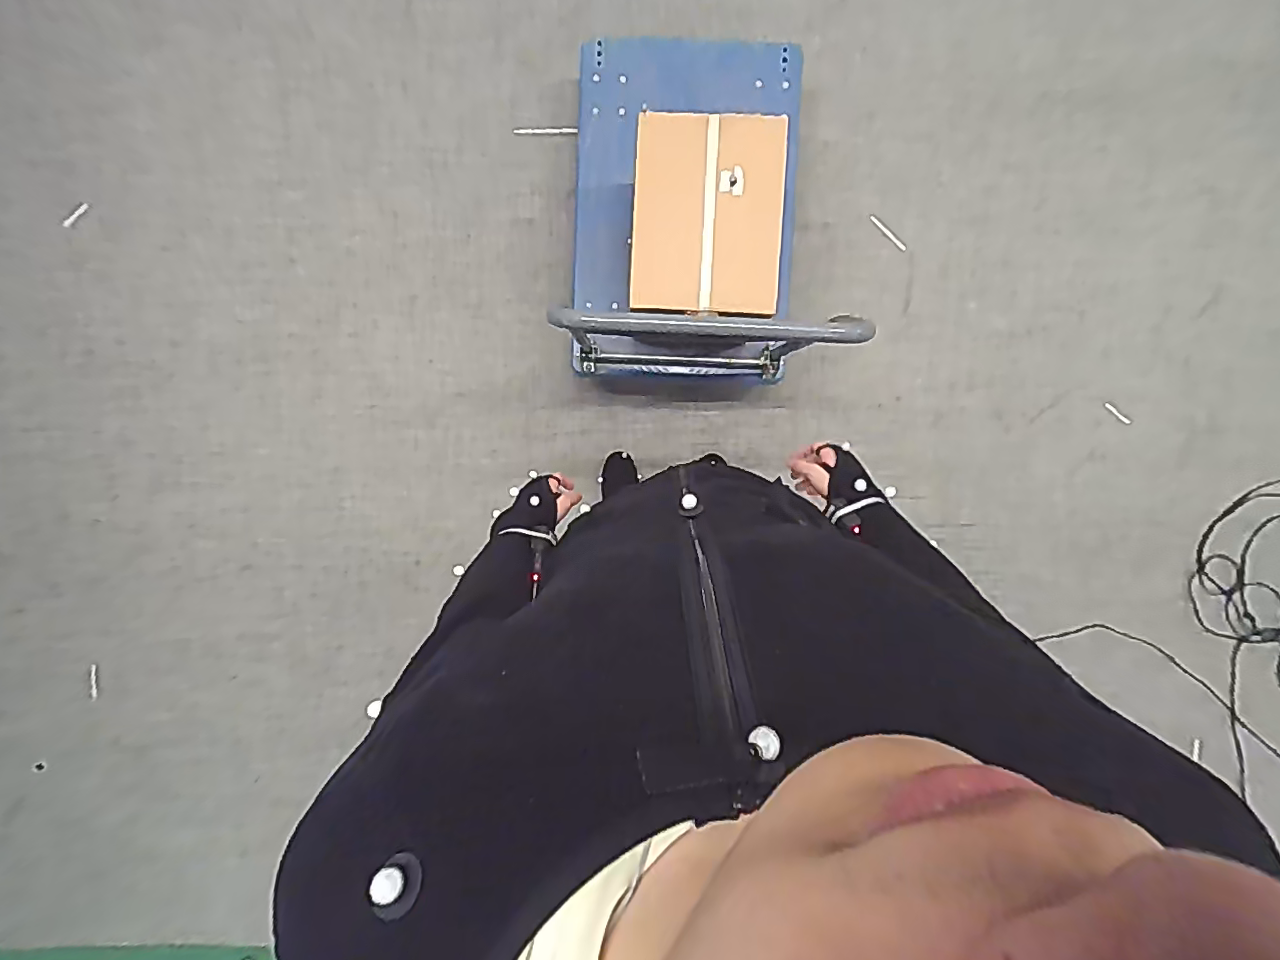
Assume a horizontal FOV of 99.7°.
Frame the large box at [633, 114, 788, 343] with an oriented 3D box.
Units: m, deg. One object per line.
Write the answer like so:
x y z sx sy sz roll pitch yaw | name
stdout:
0.147 -0.553 1.266 0.320 0.320 0.408 3 92 -1 | large box
